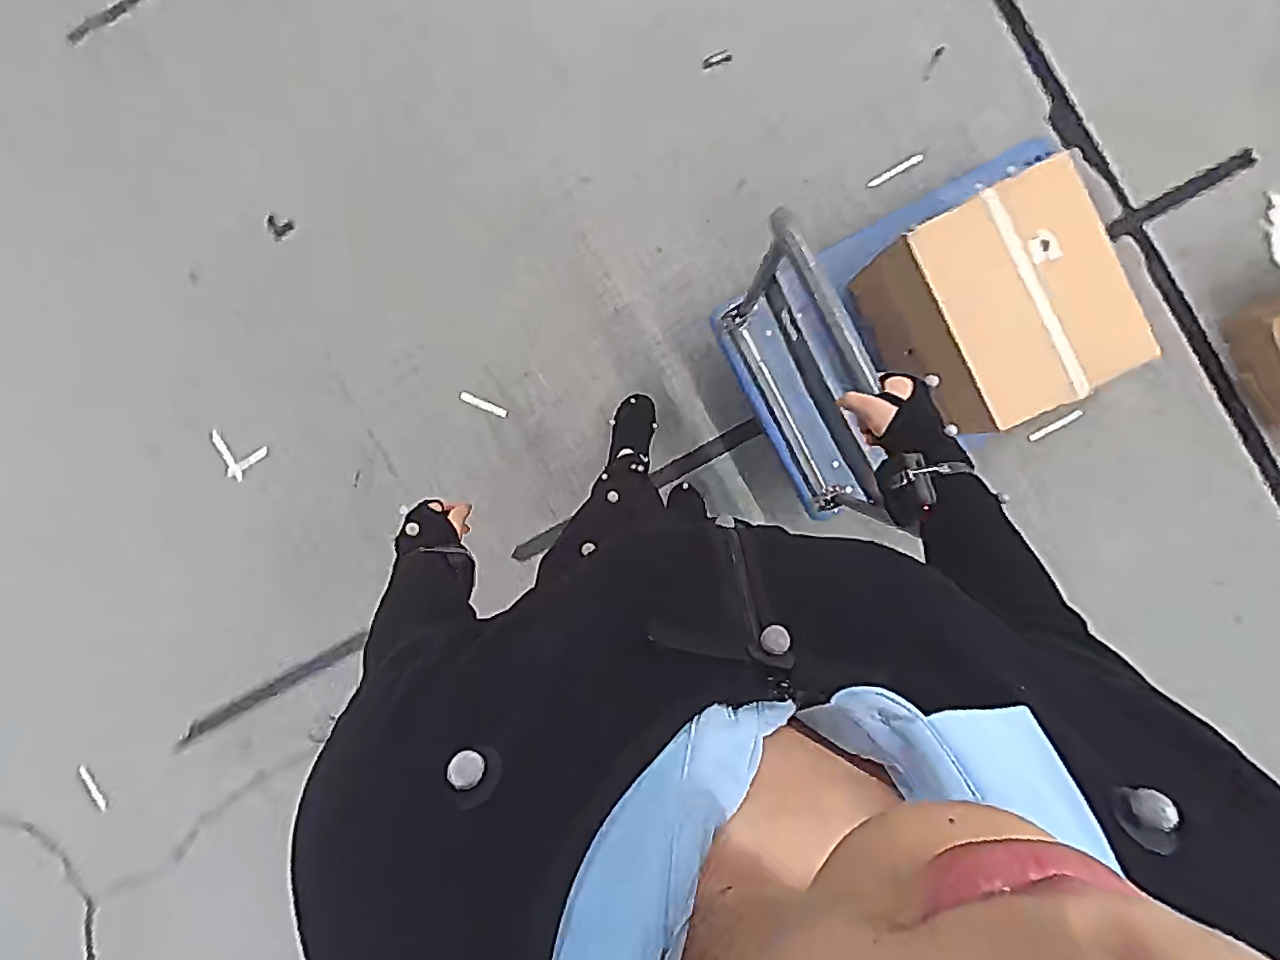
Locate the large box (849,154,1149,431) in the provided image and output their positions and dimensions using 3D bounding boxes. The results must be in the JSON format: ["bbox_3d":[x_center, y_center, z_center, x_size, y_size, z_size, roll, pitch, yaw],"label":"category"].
[{"bbox_3d":[0.707,-0.351,1.132,0.320,0.320,0.408,-27,91,3],"label":"large box"}]
